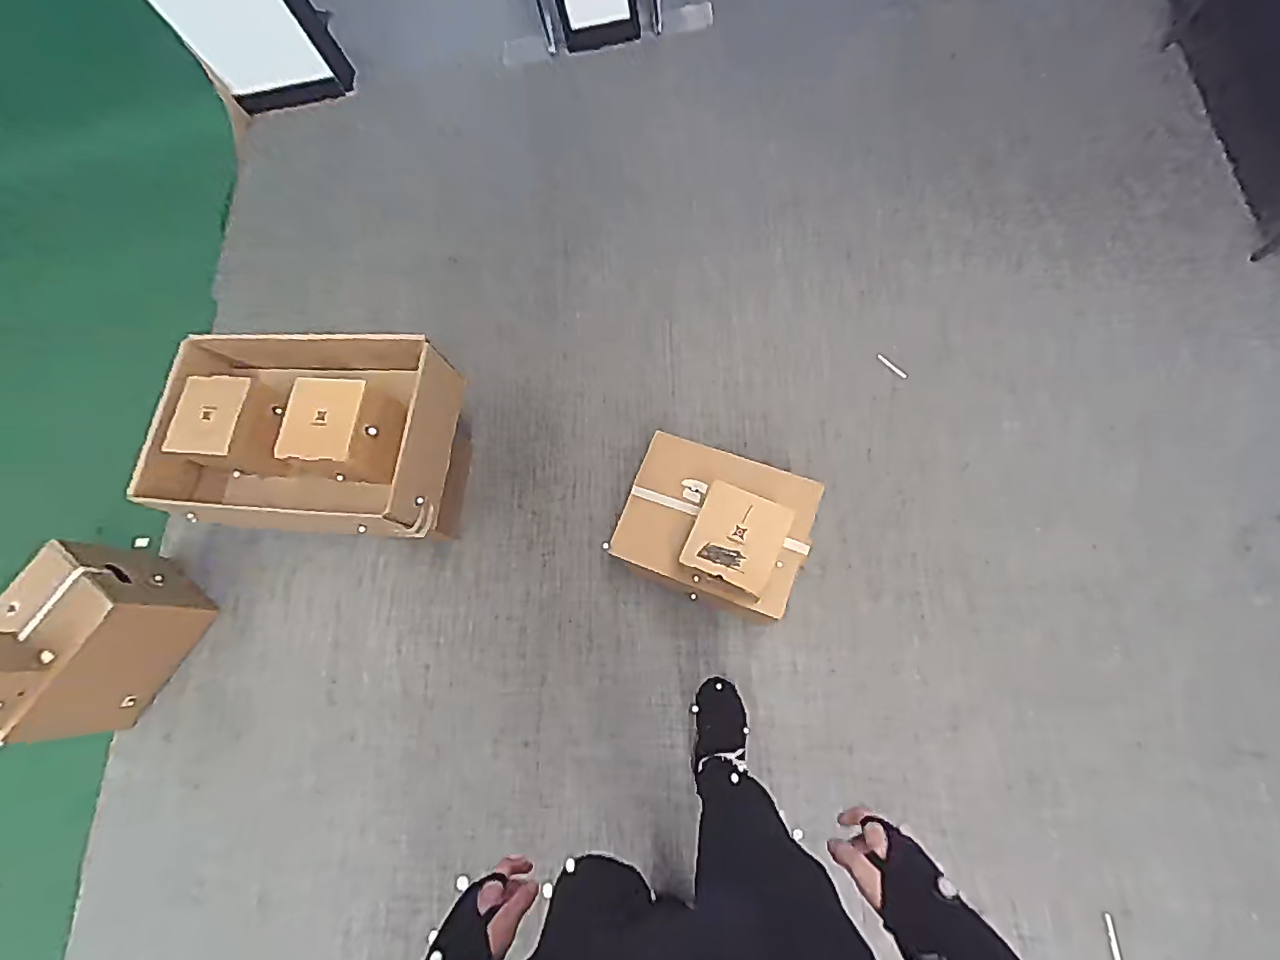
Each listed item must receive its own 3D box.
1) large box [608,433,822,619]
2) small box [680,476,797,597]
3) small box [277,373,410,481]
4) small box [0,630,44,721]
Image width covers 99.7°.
[{"bbox_3d":[0.189,0.126,1.329,0.408,0.320,0.320,19,77,15],"label":"large box"},{"bbox_3d":[0.195,0.119,1.071,0.168,0.176,0.179,23,79,14],"label":"small box"},{"bbox_3d":[-0.620,-0.109,1.154,0.168,0.176,0.179,4,75,10],"label":"small box"},{"bbox_3d":[-1.555,0.451,1.235,0.179,0.176,0.168,31,80,15],"label":"small box"}]
